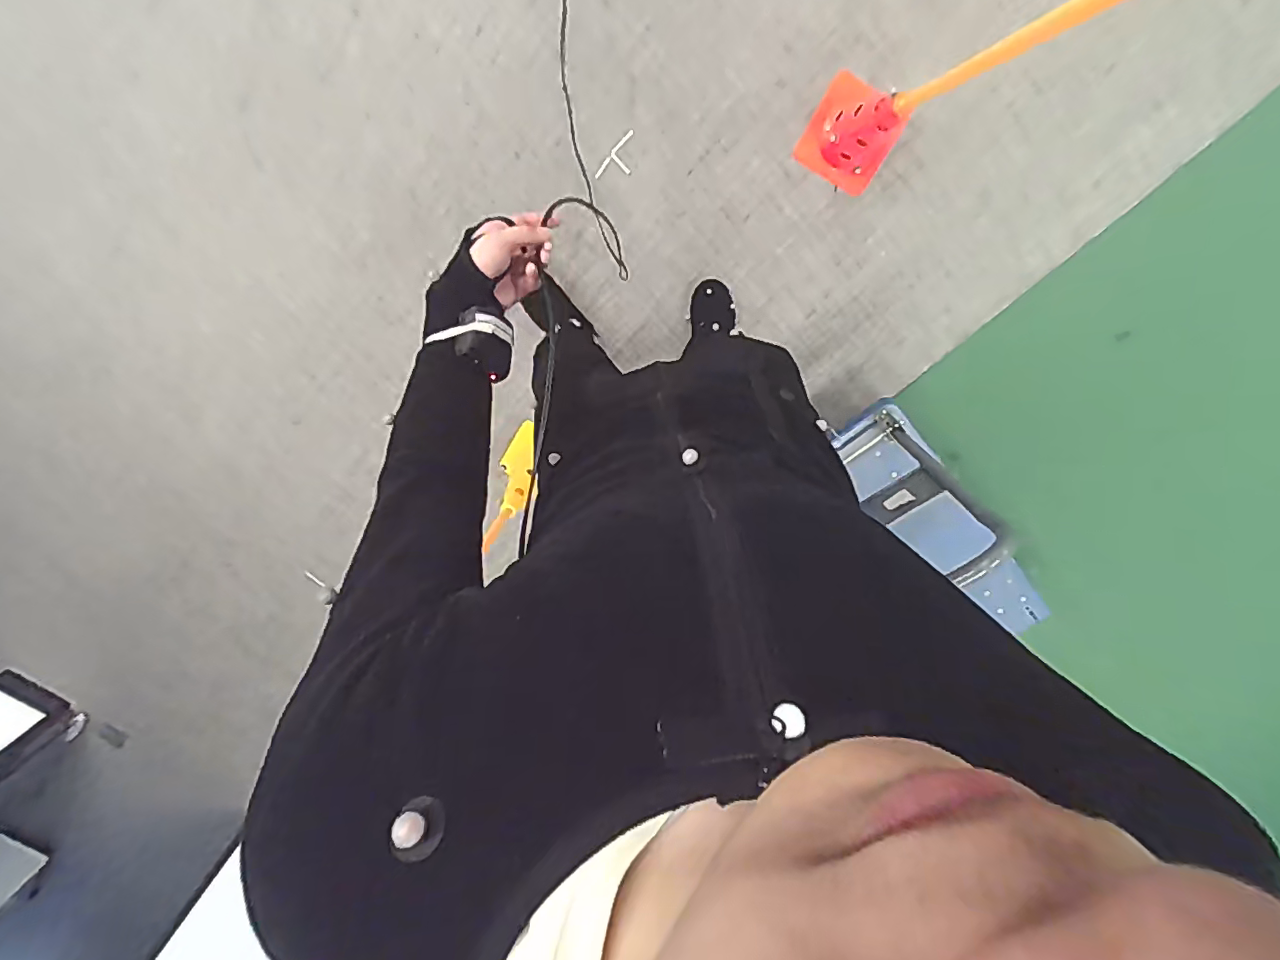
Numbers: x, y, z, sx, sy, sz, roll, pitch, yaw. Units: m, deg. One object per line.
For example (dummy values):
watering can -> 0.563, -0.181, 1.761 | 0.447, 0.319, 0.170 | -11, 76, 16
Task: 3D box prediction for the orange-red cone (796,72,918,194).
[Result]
orange-red cone -> 0.487, -0.745, 1.122 | 0.198, 0.360, 0.199 | 28, 112, -9
